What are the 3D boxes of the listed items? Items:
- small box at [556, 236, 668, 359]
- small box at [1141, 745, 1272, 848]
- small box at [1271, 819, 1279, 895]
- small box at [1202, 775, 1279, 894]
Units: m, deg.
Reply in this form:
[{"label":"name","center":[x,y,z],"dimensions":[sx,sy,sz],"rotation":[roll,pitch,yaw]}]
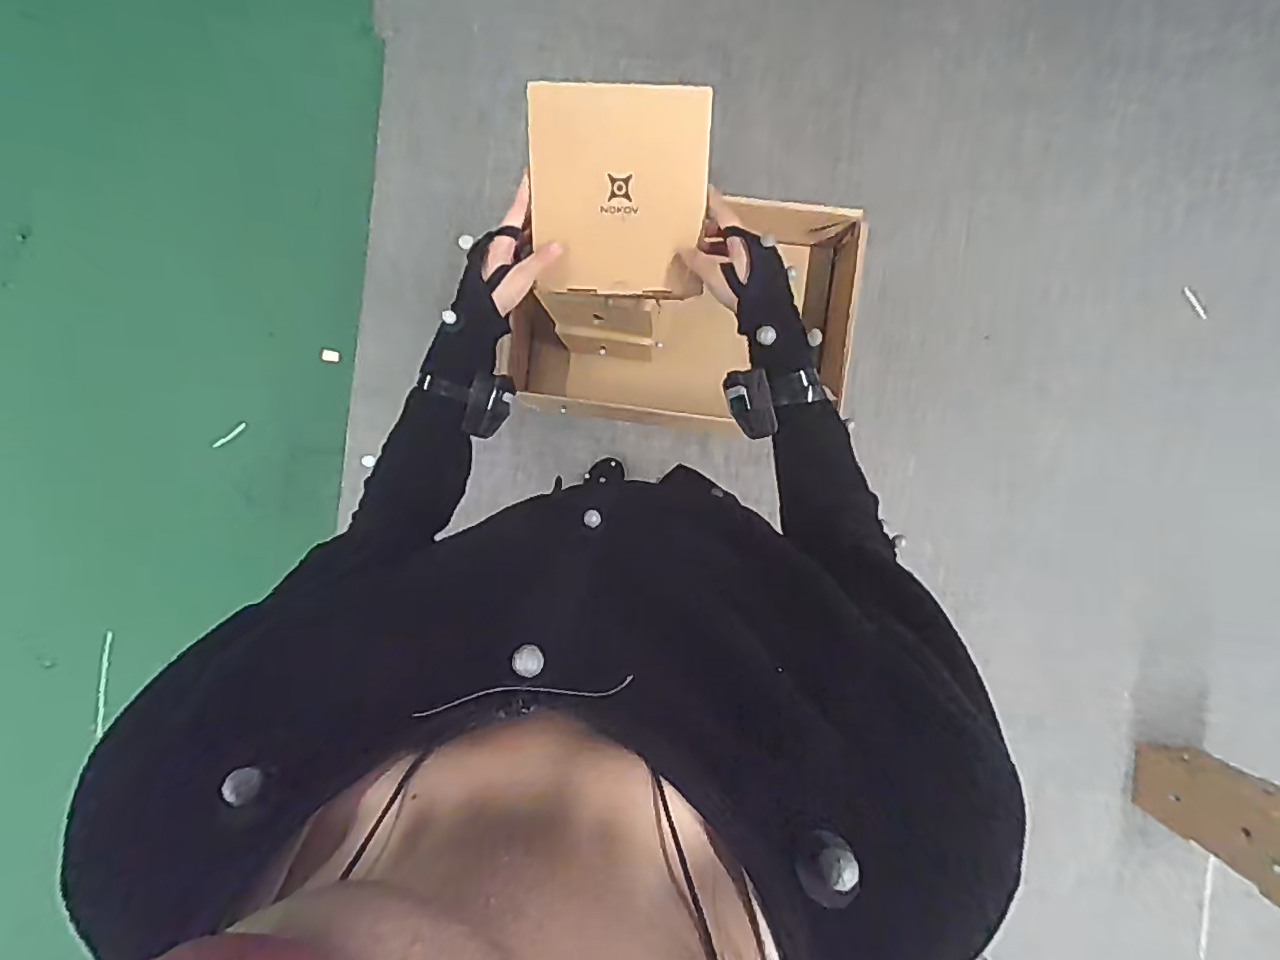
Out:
[{"label":"small box","center":[-0.046,-0.330,1.011],"dimensions":[0.179,0.176,0.168],"rotation":[8,91,2]},{"label":"small box","center":[1.440,0.807,1.383],"dimensions":[0.168,0.176,0.179],"rotation":[5,91,3]},{"label":"small box","center":[1.410,0.801,1.056],"dimensions":[0.168,0.176,0.179],"rotation":[3,91,3]},{"label":"small box","center":[1.433,0.797,1.218],"dimensions":[0.168,0.176,0.179],"rotation":[5,90,4]}]
